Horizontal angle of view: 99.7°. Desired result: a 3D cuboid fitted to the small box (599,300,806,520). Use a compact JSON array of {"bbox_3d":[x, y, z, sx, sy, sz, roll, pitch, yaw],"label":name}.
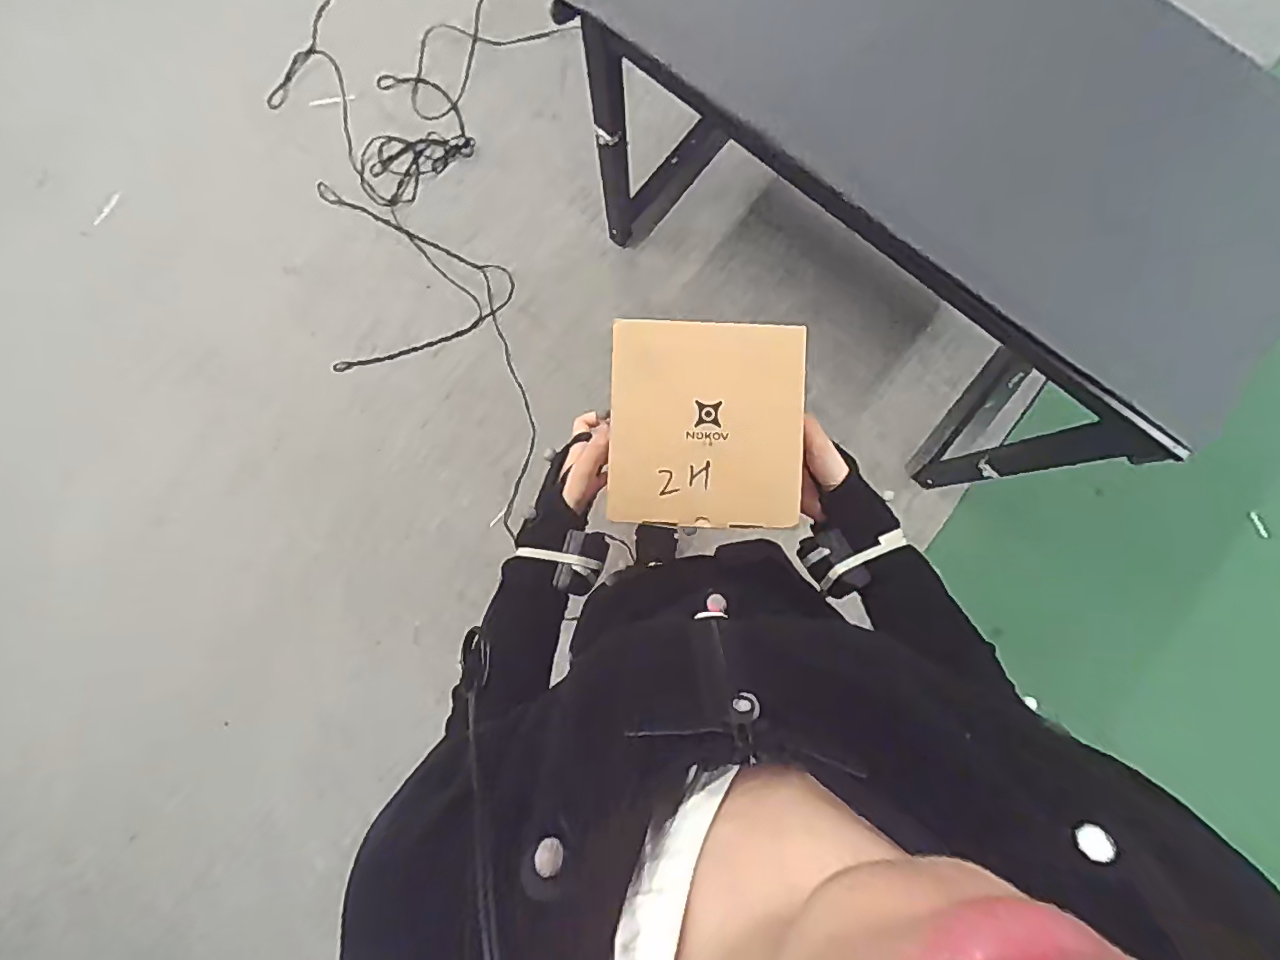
[{"bbox_3d":[0.052,-0.055,0.525,0.168,0.176,0.179,3,89,0],"label":"small box"}]
